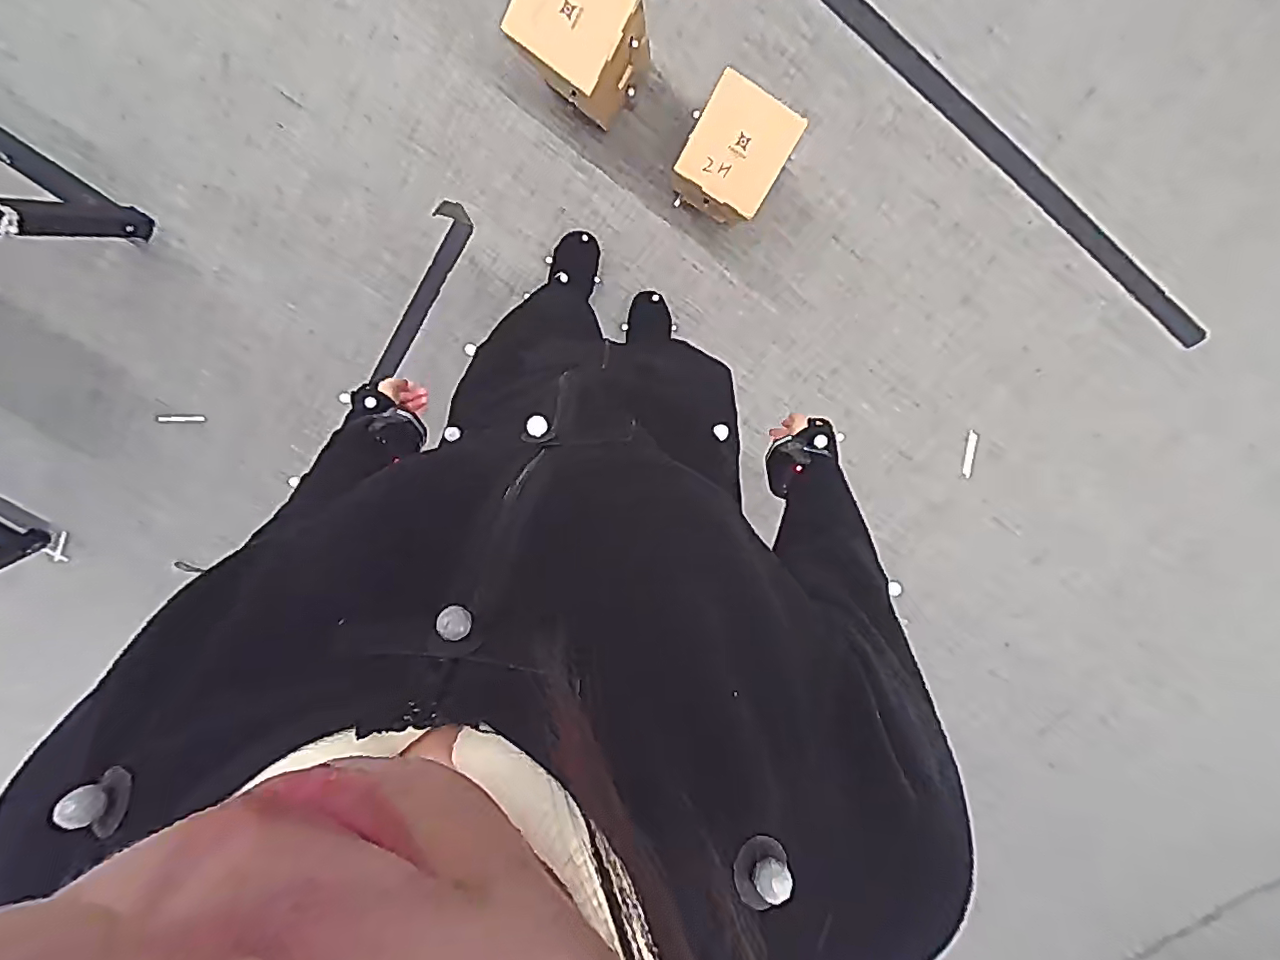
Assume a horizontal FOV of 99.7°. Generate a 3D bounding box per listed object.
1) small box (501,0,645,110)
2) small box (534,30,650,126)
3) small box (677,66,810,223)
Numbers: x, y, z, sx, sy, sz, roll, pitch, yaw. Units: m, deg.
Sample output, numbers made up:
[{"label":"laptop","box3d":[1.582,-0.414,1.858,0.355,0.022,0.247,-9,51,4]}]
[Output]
[{"label":"small box","box3d":[-0.104,-0.775,0.928,0.179,0.176,0.168,33,111,-10]},{"label":"small box","box3d":[-0.093,-0.842,1.077,0.179,0.176,0.168,34,111,-12]},{"label":"small box","box3d":[0.177,-0.597,0.990,0.168,0.176,0.179,29,112,-9]}]
